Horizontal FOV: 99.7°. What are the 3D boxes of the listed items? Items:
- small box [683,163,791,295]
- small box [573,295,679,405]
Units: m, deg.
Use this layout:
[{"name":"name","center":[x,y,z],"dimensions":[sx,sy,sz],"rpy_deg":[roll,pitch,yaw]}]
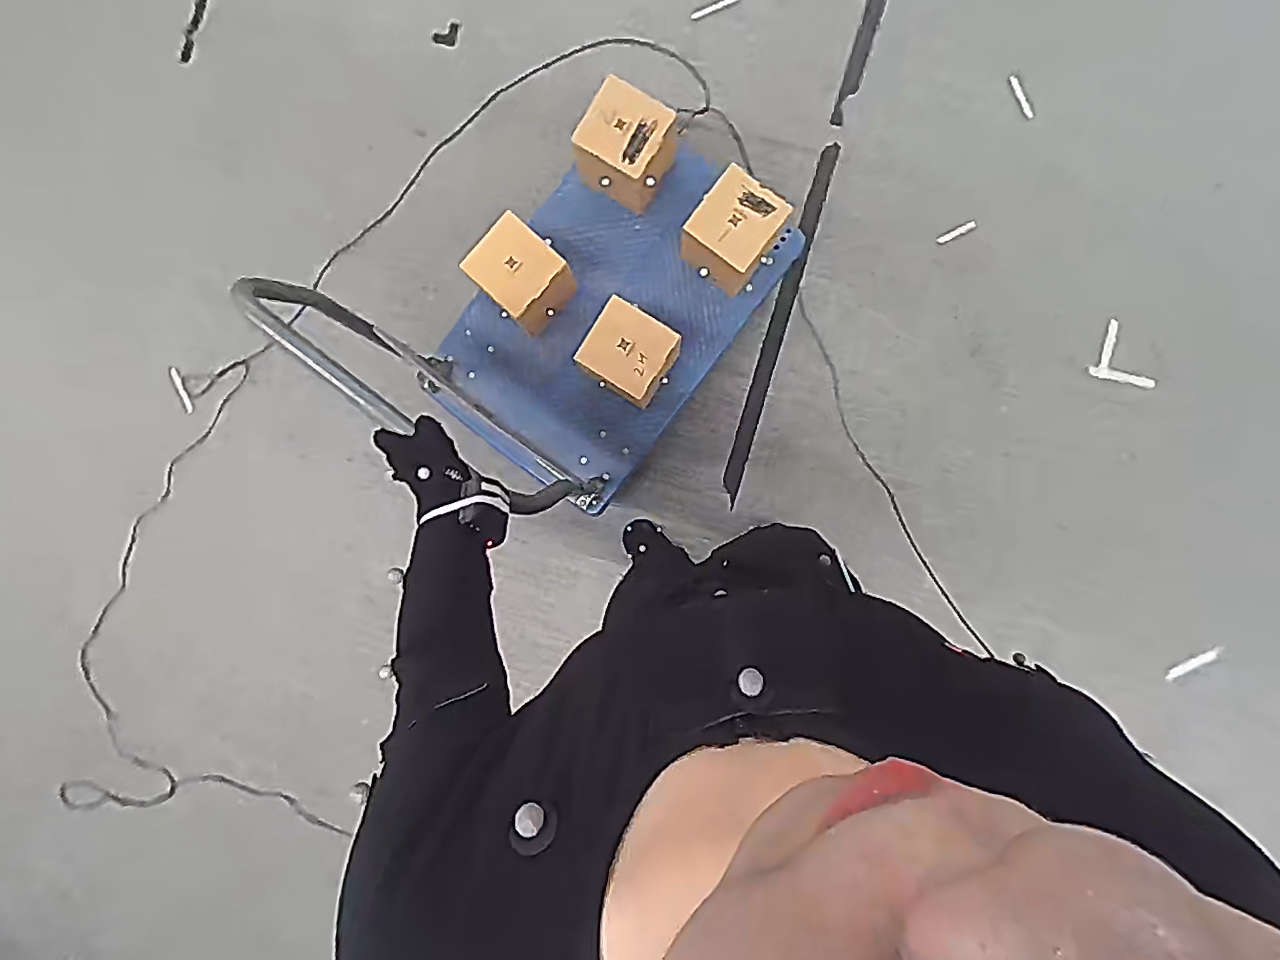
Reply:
[{"name":"small box","center":[0.208,-0.557,1.225],"dimensions":[0.168,0.176,0.179],"rpy_deg":[38,93,2]},{"name":"small box","center":[-0.027,-0.286,1.240],"dimensions":[0.179,0.176,0.168],"rpy_deg":[33,93,2]}]
